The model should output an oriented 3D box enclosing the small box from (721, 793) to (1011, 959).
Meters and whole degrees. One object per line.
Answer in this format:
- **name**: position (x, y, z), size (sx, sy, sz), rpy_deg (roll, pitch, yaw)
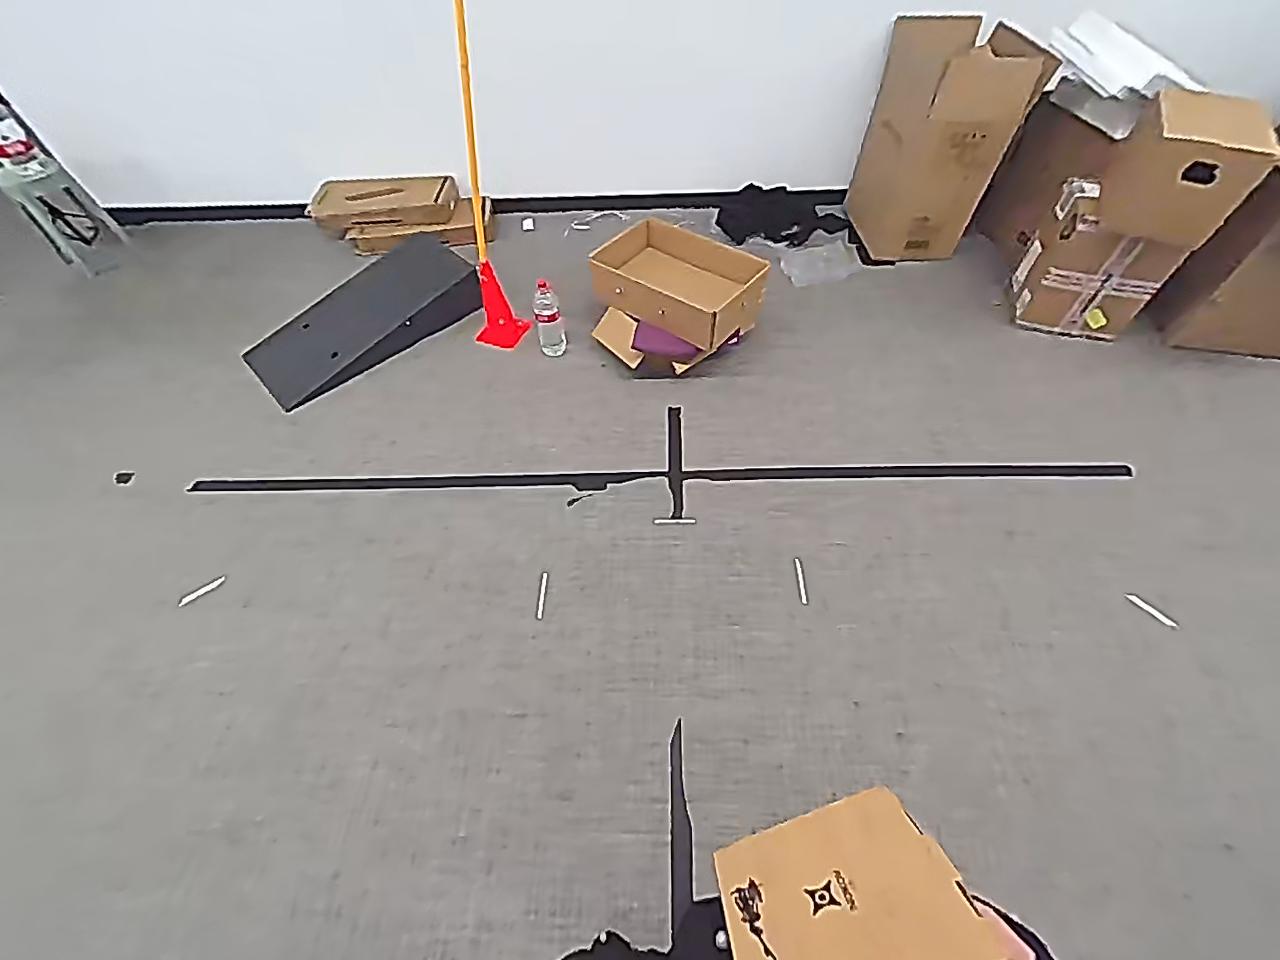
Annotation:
- **small box**: position (0.186, 0.407, 0.437), size (0.179, 0.168, 0.176), rpy_deg (-21, 94, 1)
